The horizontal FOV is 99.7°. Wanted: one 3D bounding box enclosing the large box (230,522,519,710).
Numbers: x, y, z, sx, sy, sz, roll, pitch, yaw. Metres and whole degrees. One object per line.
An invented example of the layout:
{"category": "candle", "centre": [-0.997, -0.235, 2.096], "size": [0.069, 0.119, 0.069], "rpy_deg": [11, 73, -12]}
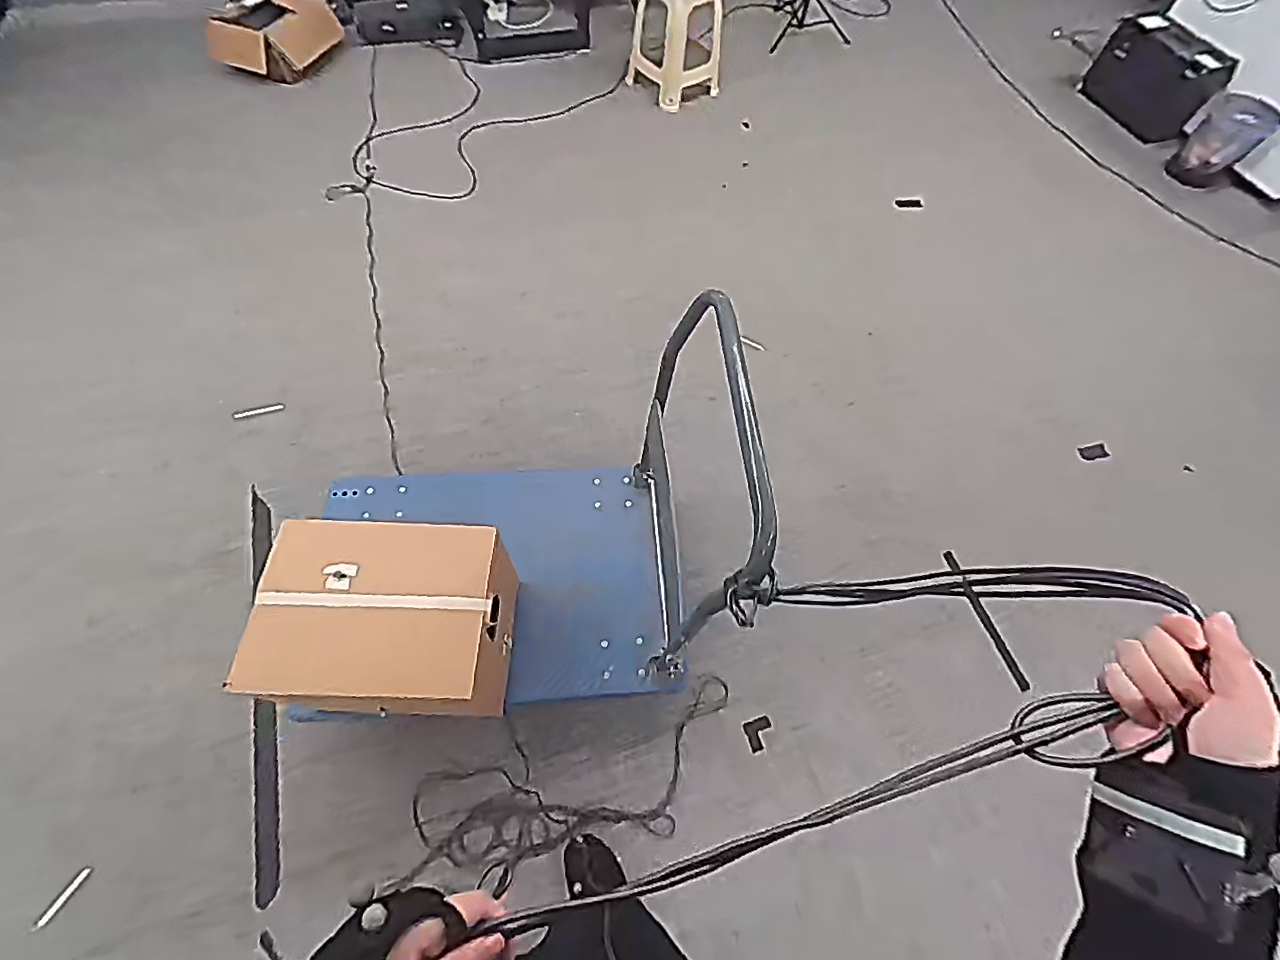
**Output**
{"category": "large box", "centre": [-0.476, 0.287, 1.087], "size": [0.408, 0.320, 0.320], "rpy_deg": [2, 61, -2]}
